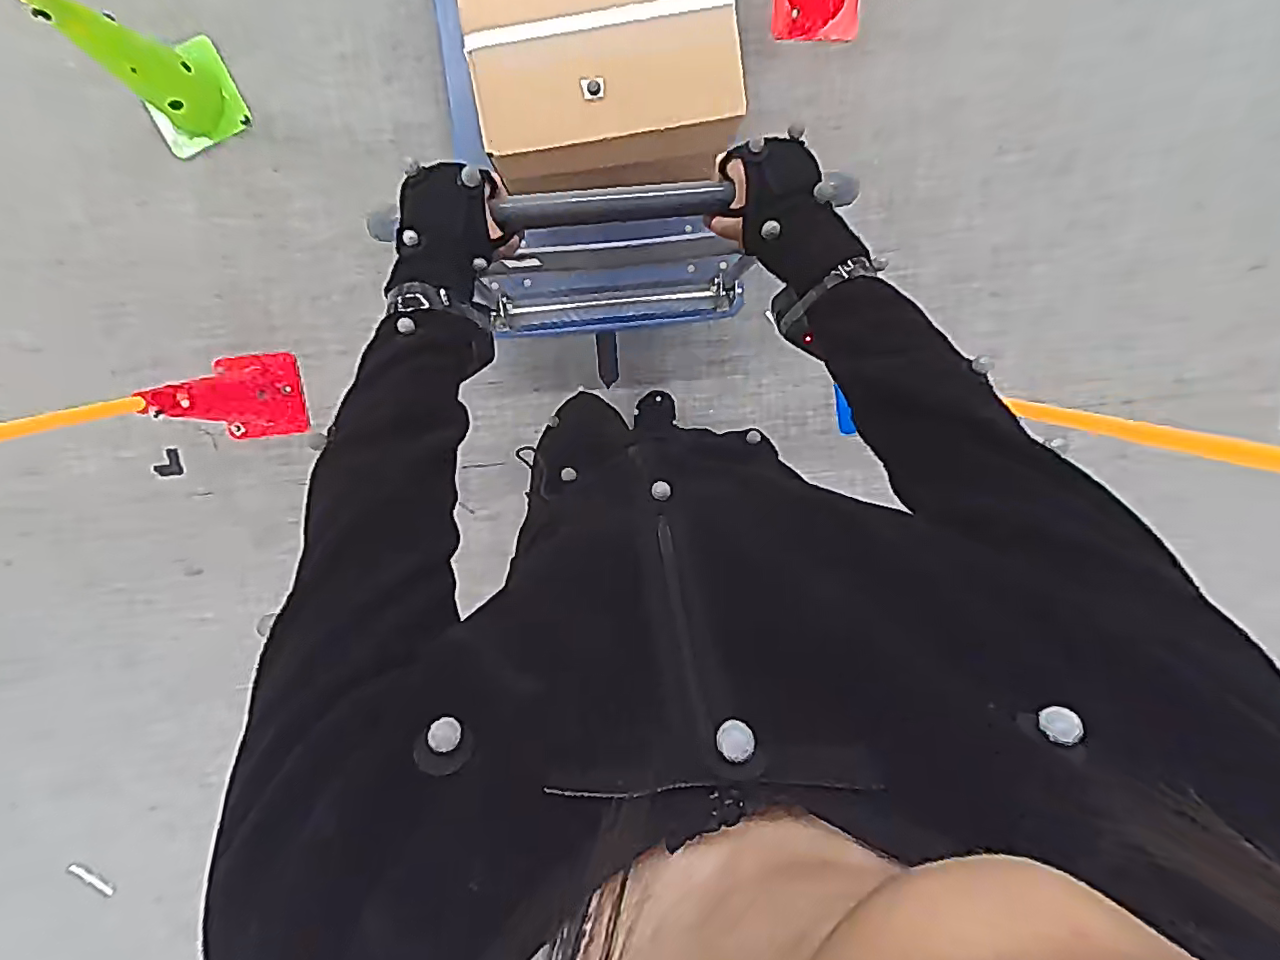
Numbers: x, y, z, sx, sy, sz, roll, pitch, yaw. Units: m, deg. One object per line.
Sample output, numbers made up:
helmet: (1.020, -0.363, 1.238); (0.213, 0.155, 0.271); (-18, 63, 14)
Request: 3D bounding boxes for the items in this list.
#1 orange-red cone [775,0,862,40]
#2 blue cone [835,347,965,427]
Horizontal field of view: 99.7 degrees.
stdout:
orange-red cone: (0.420, -1.081, 1.055); (0.199, 0.360, 0.198); (1, 101, -4)
blue cone: (0.616, -0.212, 1.246); (0.193, 0.380, 0.192); (-9, 100, -1)
